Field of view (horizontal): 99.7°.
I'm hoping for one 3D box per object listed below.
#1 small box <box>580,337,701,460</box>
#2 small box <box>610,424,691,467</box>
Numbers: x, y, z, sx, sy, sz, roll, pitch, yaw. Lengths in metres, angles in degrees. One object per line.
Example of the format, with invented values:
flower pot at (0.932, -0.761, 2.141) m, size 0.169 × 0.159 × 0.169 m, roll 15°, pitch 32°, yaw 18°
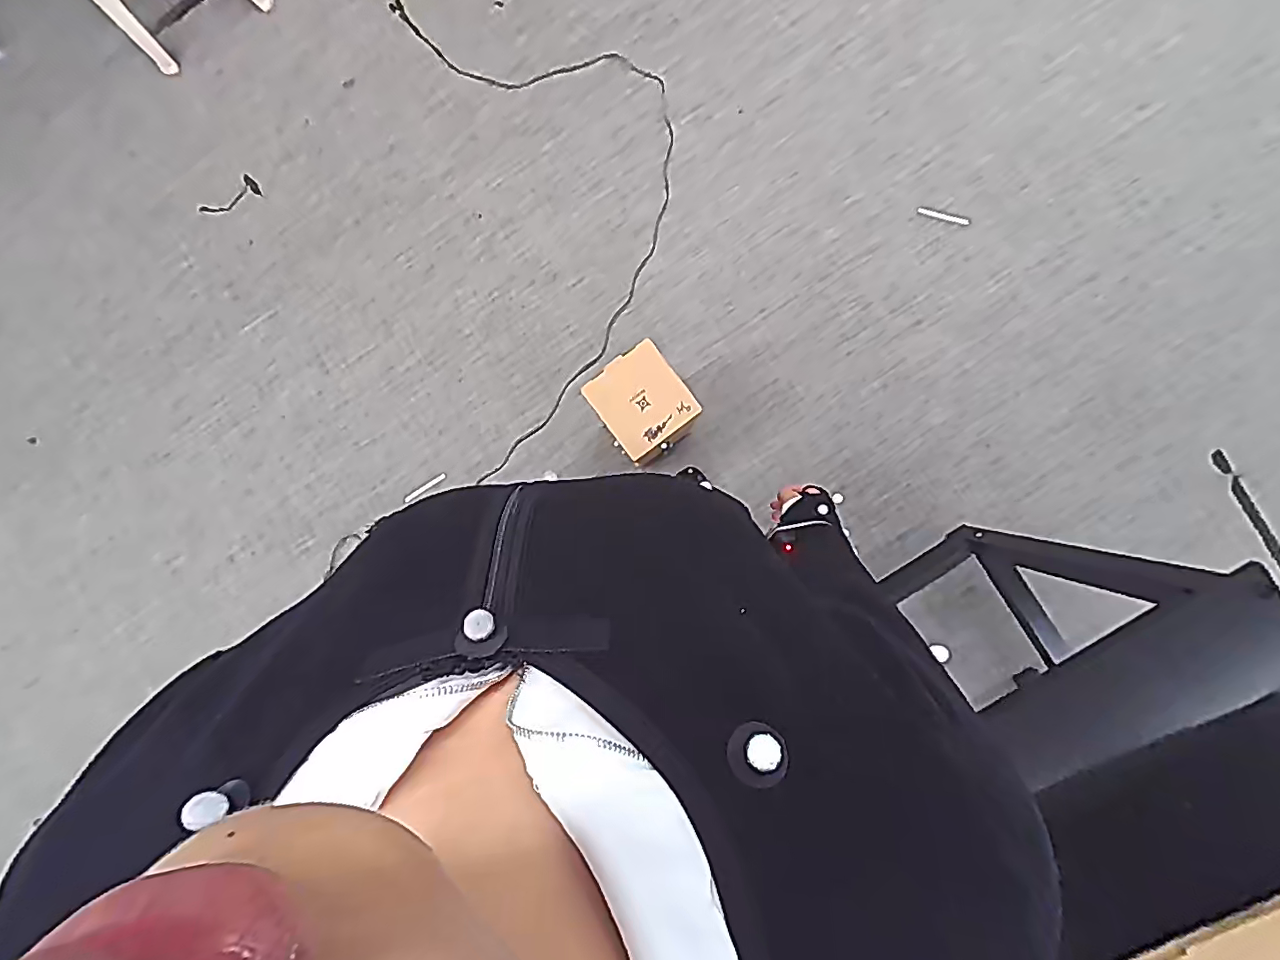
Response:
small box at (0.002, -0.153, 1.095) m, size 0.168 × 0.176 × 0.179 m, roll -37°, pitch 89°, yaw 2°
small box at (0.014, -0.150, 1.421) m, size 0.179 × 0.176 × 0.168 m, roll -36°, pitch 89°, yaw 3°
